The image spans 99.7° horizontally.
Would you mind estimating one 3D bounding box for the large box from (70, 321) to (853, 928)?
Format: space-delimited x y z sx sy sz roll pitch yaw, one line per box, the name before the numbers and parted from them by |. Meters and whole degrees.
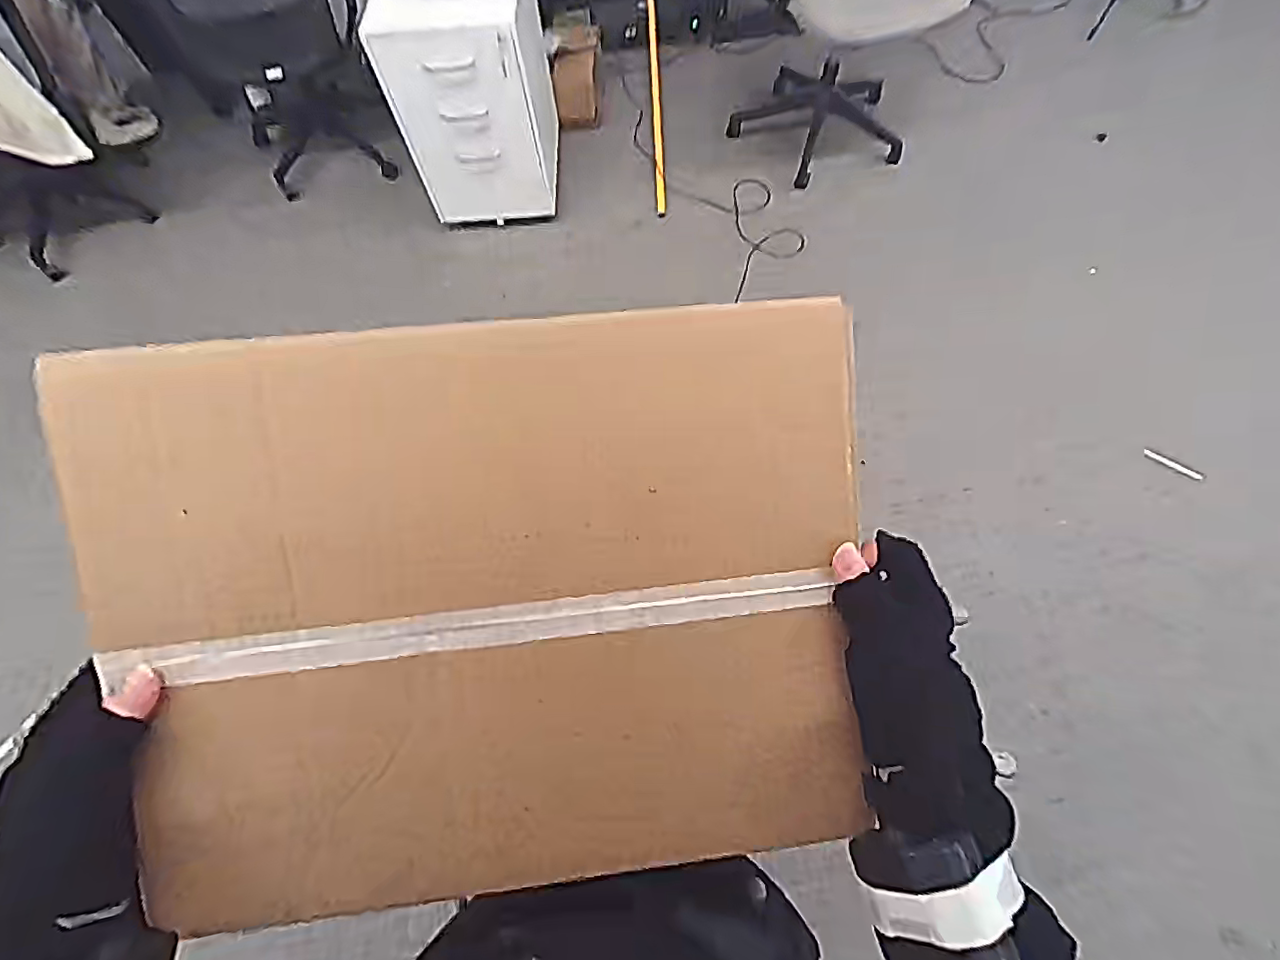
large box | -0.089 0.067 0.452 0.408 0.320 0.320 -6 96 -4
